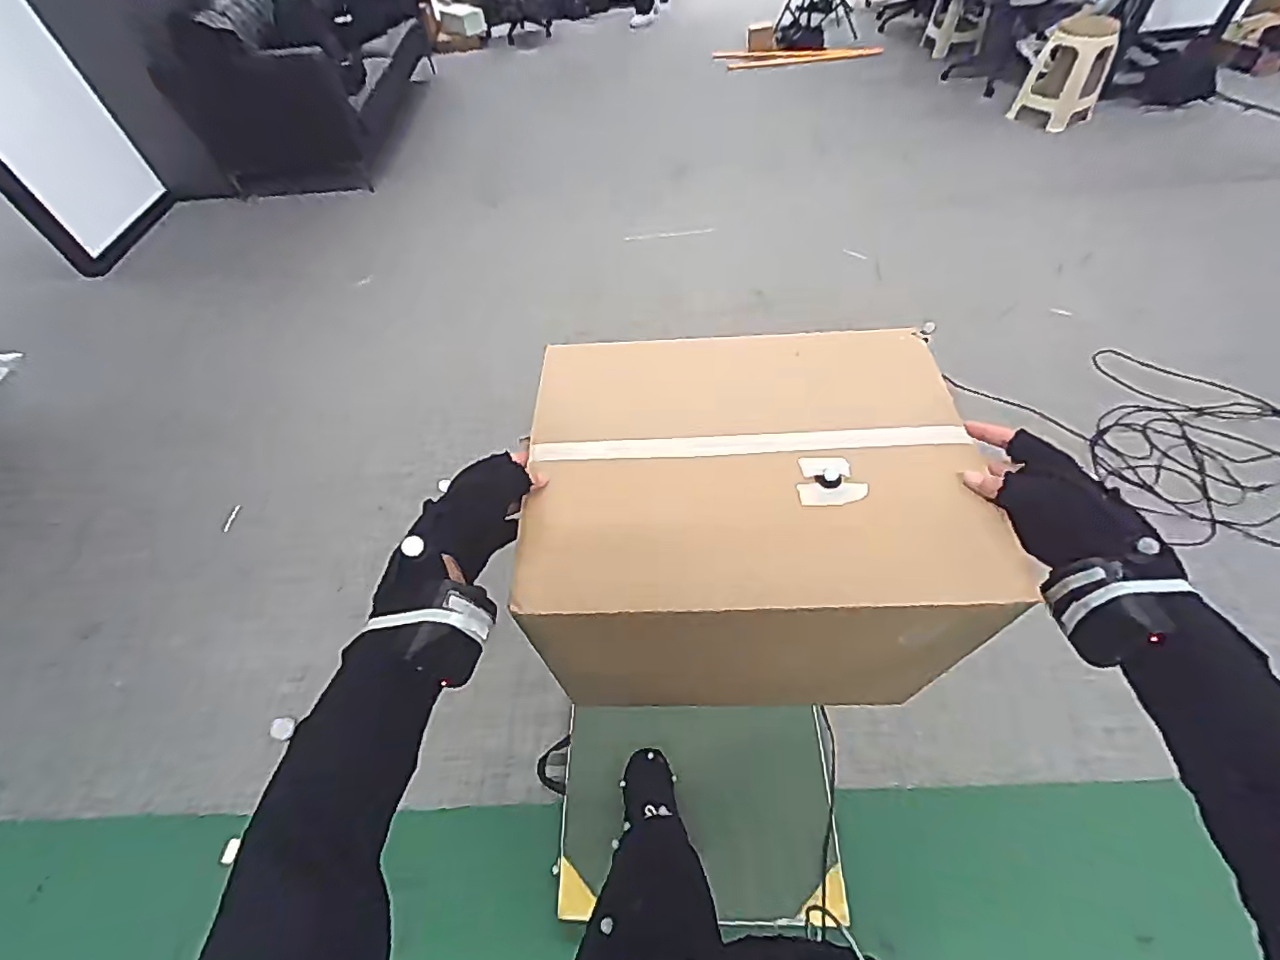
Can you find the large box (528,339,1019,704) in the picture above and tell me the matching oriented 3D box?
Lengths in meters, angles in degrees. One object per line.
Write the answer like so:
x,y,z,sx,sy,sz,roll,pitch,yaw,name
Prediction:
0.108,0.062,0.639,0.408,0.320,0.320,-2,55,2,large box
